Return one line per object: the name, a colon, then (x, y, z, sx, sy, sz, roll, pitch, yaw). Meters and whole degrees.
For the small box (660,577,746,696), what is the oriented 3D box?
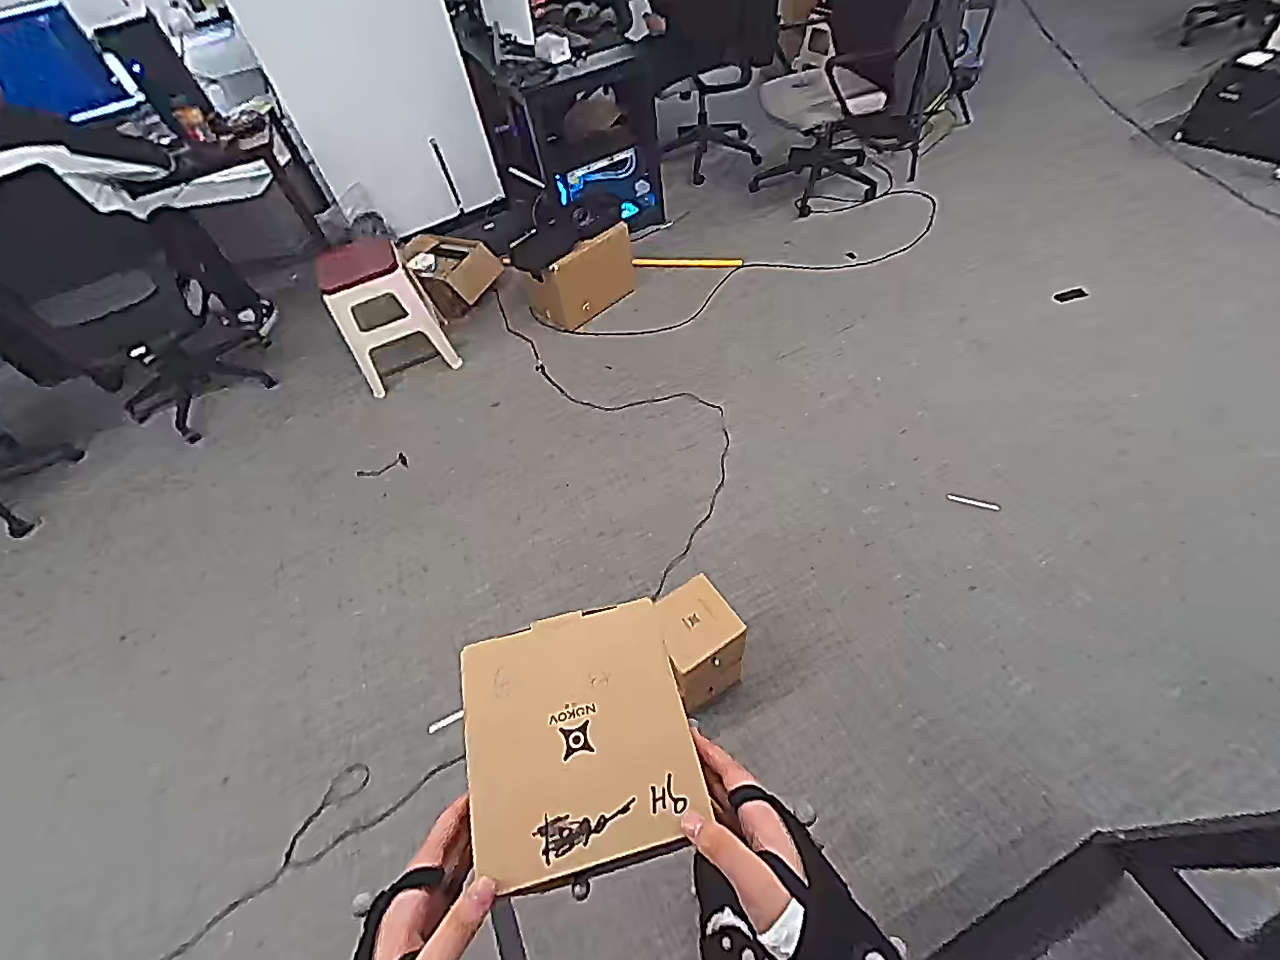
small box: (0.126, 0.362, 1.239, 0.179, 0.176, 0.168, -30, 55, -15)

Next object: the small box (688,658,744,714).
small box: (0.142, 0.463, 1.365, 0.179, 0.176, 0.168, -29, 54, -12)

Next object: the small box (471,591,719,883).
small box: (-0.039, 0.228, 0.476, 0.168, 0.176, 0.179, -15, 53, -5)
